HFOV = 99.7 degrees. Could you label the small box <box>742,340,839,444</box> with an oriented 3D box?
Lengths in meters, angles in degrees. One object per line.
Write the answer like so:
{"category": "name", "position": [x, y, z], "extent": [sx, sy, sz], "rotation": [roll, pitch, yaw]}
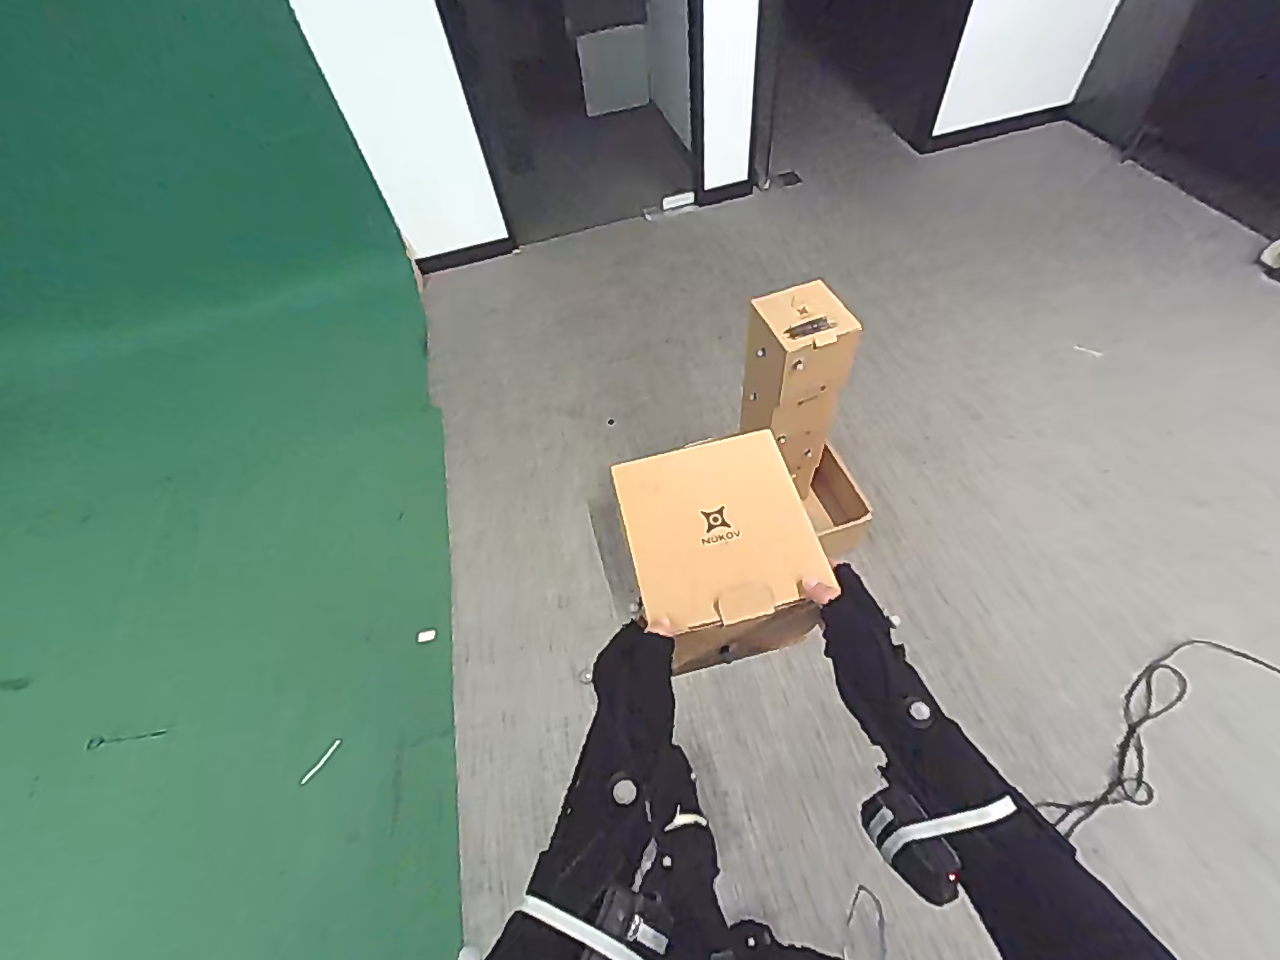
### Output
{"category": "small box", "position": [0.358, -0.204, 1.317], "extent": [0.168, 0.176, 0.179], "rotation": [-16, 55, -4]}

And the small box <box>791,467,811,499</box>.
{"category": "small box", "position": [0.380, -0.018, 1.588], "extent": [0.168, 0.176, 0.179], "rotation": [-21, 55, -5]}

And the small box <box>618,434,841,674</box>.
{"category": "small box", "position": [0.077, 0.082, 0.561], "extent": [0.168, 0.176, 0.179], "rotation": [-13, 61, -4]}

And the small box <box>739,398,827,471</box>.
{"category": "small box", "position": [0.373, -0.126, 1.442], "extent": [0.168, 0.176, 0.179], "rotation": [-17, 55, -4]}
